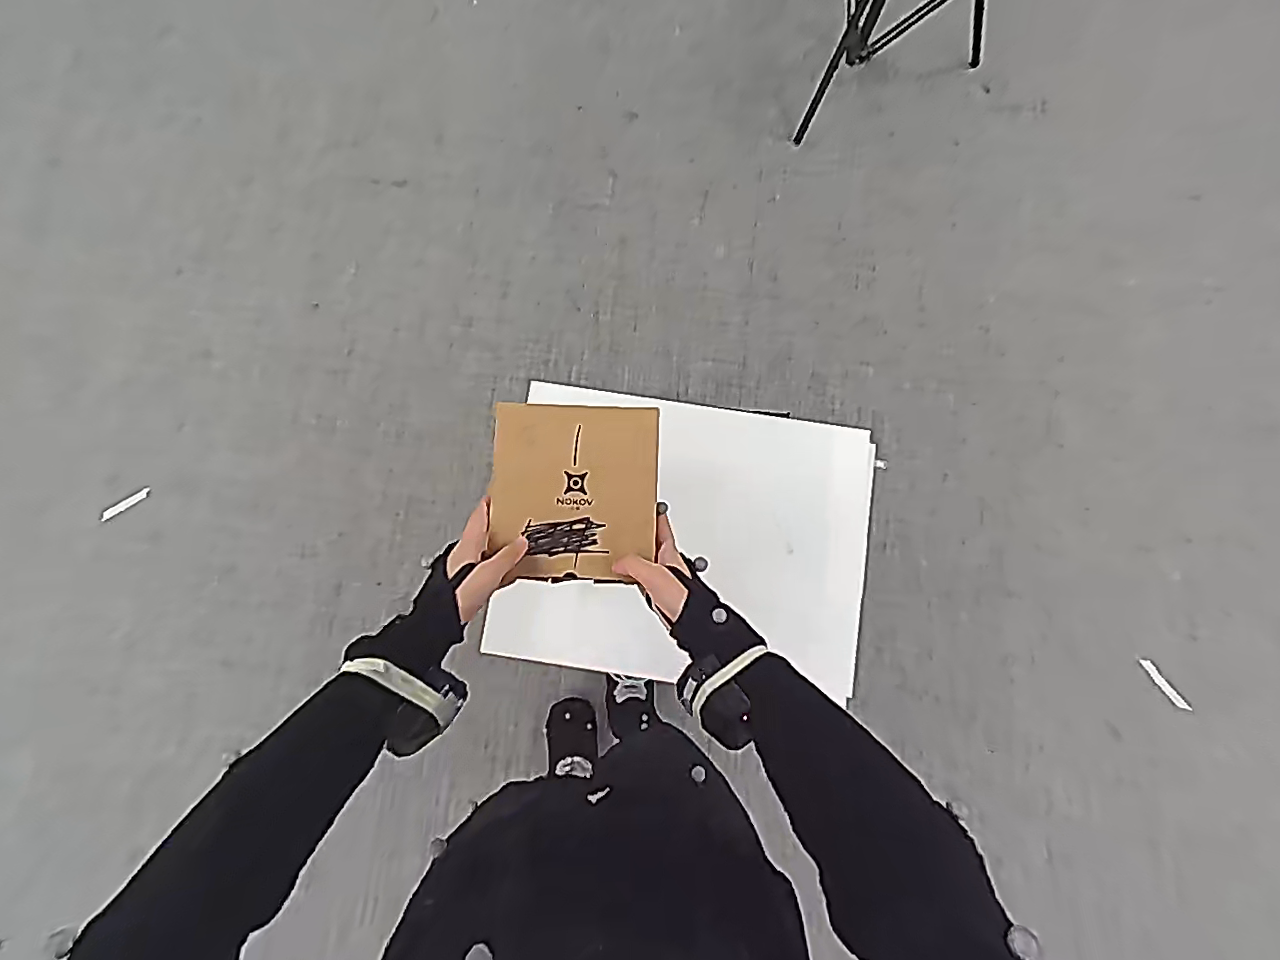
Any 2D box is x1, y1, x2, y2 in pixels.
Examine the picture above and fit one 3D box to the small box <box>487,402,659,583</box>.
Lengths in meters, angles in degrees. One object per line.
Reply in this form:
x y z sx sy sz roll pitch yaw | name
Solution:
-0.065 0.018 0.613 0.168 0.176 0.179 2 85 0 | small box
